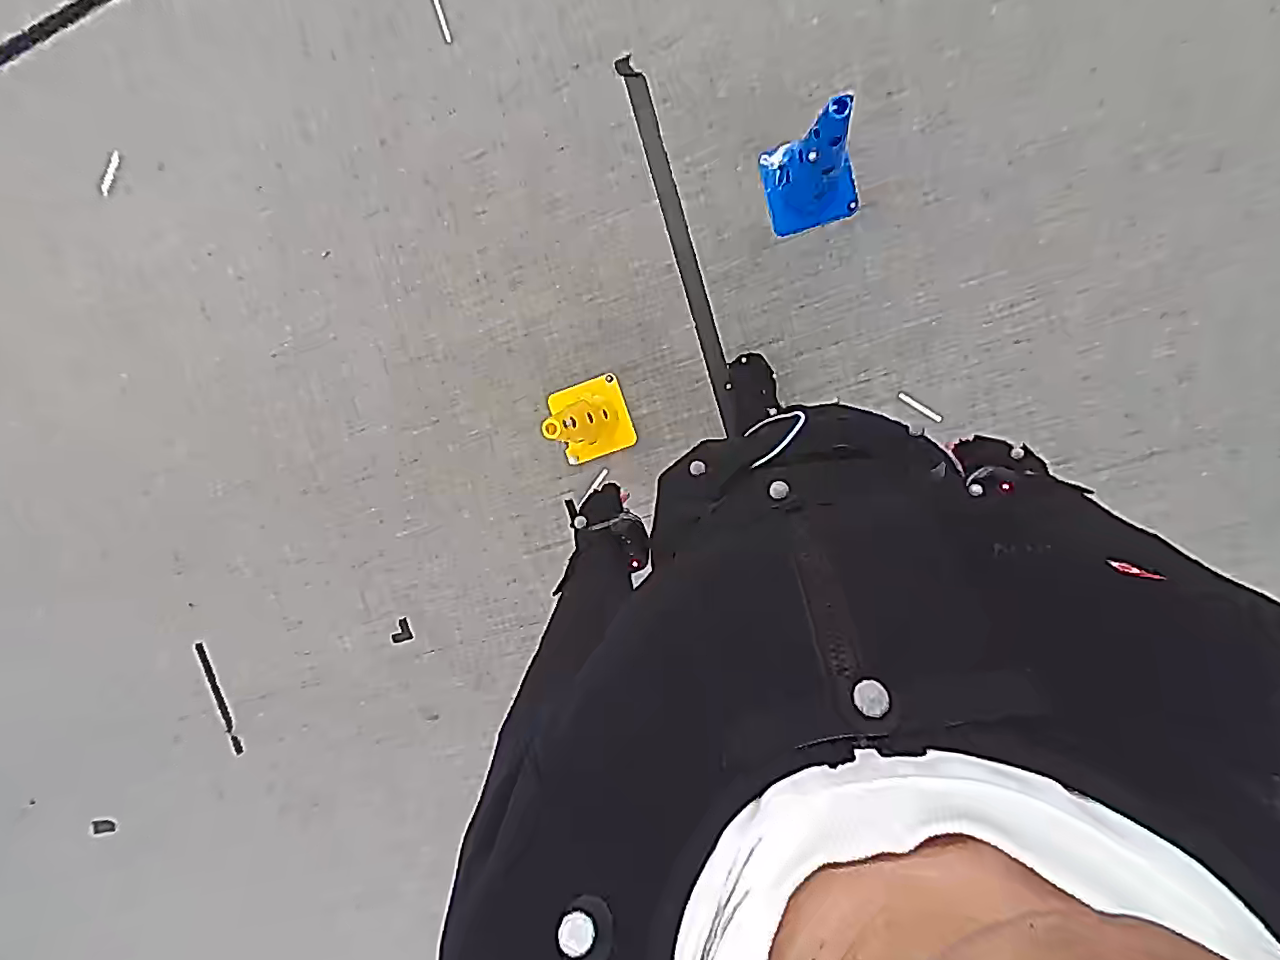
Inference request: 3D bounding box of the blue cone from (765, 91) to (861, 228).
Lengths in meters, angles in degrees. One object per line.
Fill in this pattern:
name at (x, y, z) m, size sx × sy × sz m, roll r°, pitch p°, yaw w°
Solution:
blue cone at (0.381, -0.687, 1.125) m, size 0.192 × 0.380 × 0.193 m, roll -12°, pitch 97°, yaw 9°
